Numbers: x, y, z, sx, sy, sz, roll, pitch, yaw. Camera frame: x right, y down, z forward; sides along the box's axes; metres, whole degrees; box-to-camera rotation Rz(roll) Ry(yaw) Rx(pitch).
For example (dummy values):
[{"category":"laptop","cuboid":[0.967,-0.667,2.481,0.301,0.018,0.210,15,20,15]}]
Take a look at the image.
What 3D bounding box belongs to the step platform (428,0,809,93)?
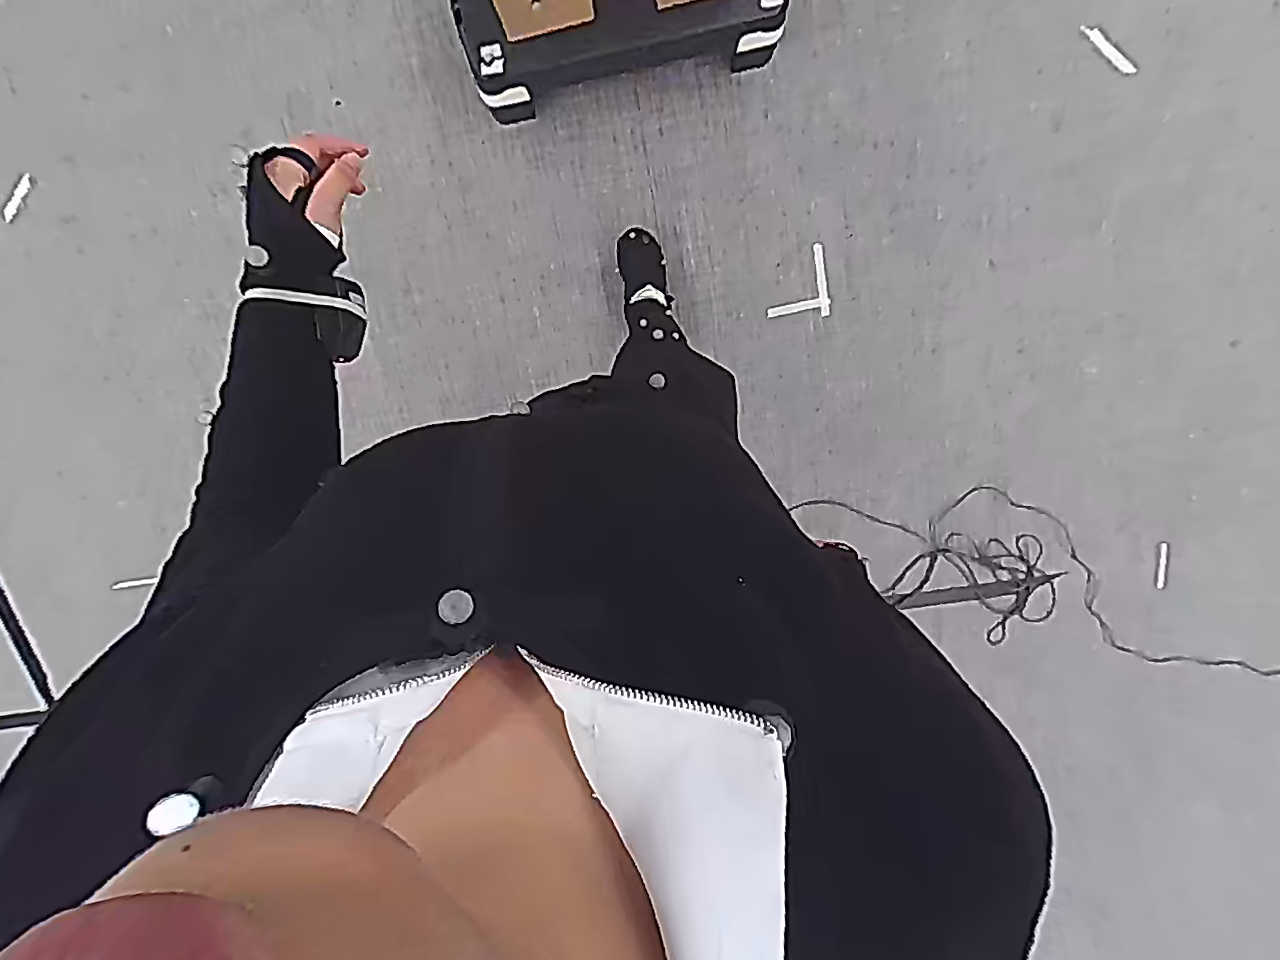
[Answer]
[{"category":"step platform","cuboid":[-0.029,-0.928,0.943,0.684,0.204,0.286,-11,103,2]}]
